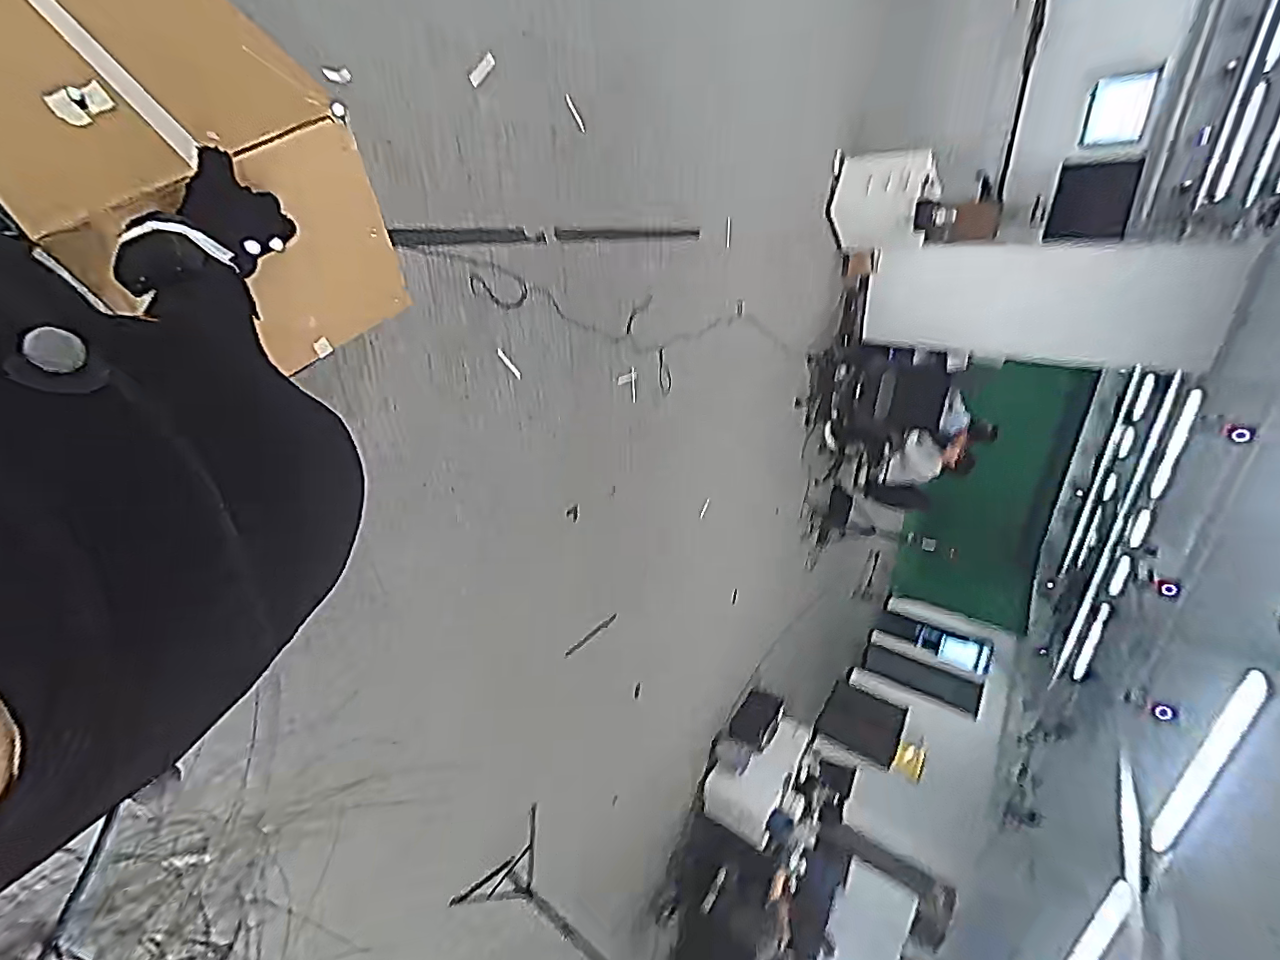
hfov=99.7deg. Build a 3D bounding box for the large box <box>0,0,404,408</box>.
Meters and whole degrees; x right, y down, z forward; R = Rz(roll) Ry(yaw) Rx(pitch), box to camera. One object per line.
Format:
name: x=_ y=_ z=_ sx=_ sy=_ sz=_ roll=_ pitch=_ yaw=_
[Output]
large box: x=-0.596 y=-0.379 z=0.715 sx=0.320 sy=0.408 sz=0.320 roll=-42 pitch=170 yaw=-22
